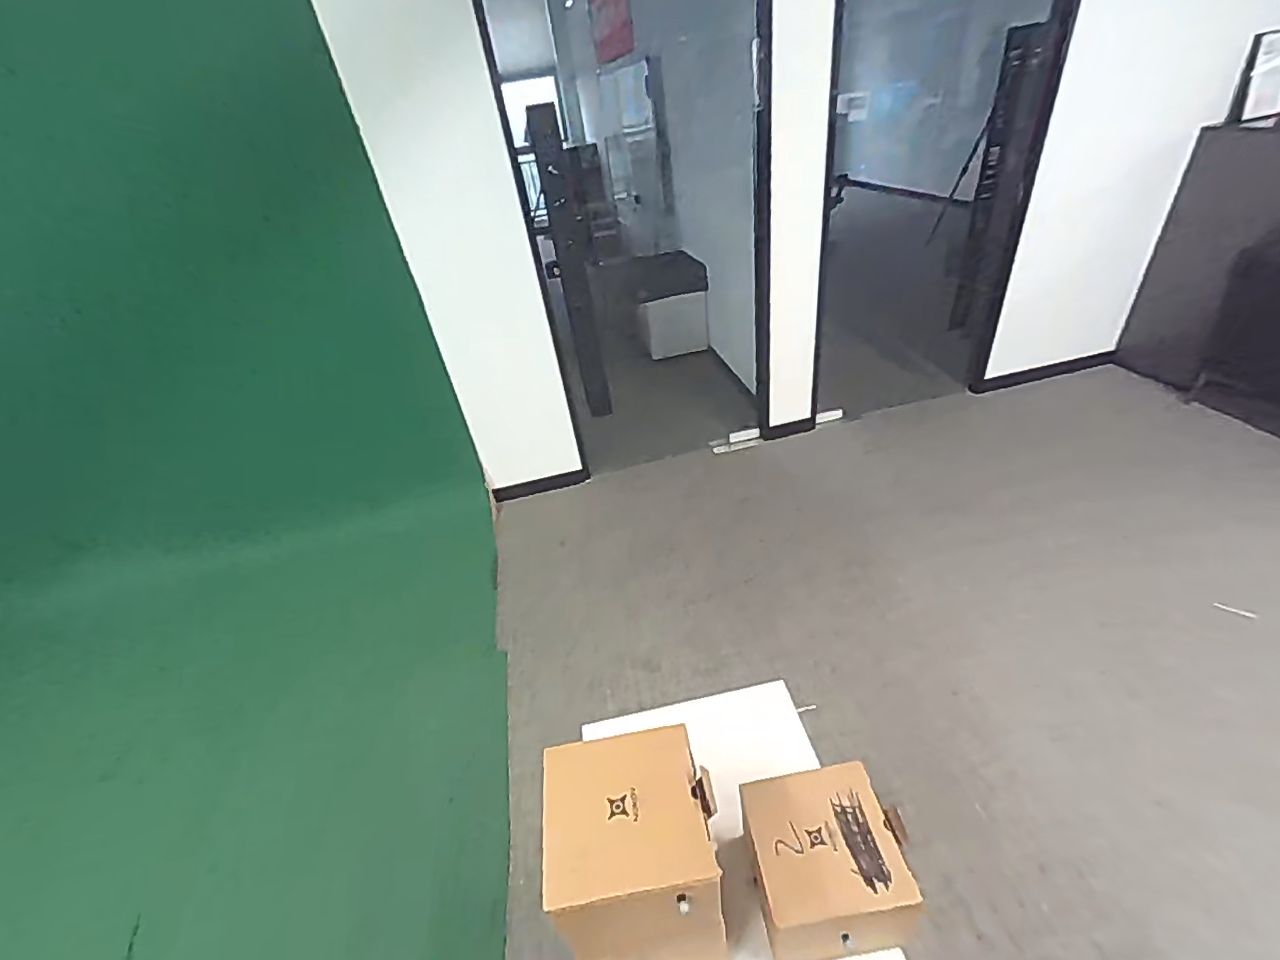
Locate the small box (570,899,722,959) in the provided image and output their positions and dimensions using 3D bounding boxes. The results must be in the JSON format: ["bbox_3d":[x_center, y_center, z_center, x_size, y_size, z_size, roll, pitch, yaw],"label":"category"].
[{"bbox_3d":[0.003,0.553,0.727,0.179,0.176,0.168,-11,36,-4],"label":"small box"}]

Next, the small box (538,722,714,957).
[{"bbox_3d":[-0.016,0.420,0.634,0.179,0.176,0.168,-9,35,-4],"label":"small box"}]
